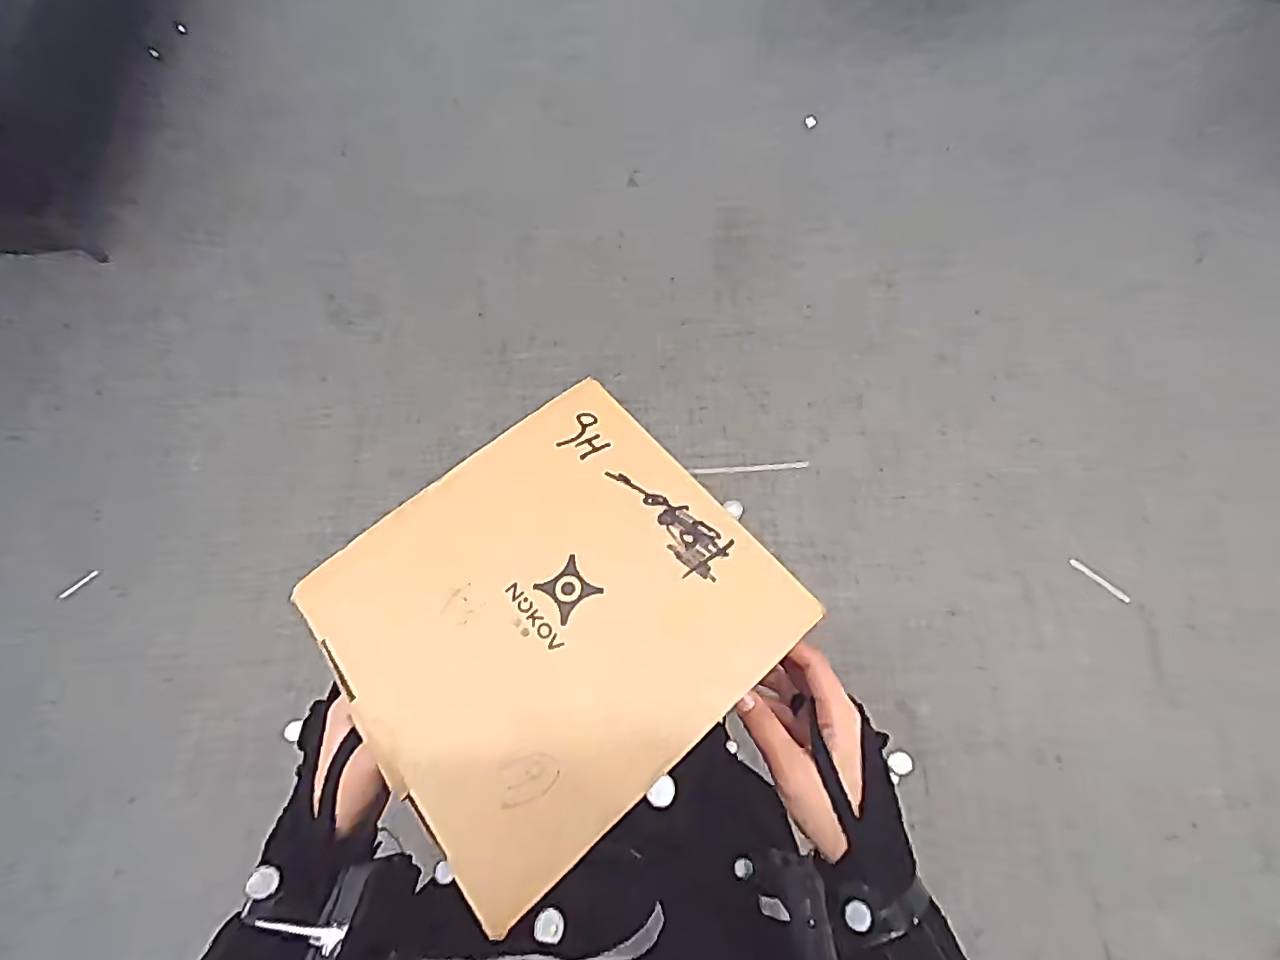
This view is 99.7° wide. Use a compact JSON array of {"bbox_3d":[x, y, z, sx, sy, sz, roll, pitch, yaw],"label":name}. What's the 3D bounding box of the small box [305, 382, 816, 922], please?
[{"bbox_3d":[-0.034,0.087,0.310,0.179,0.176,0.168,-38,69,-14],"label":"small box"}]
